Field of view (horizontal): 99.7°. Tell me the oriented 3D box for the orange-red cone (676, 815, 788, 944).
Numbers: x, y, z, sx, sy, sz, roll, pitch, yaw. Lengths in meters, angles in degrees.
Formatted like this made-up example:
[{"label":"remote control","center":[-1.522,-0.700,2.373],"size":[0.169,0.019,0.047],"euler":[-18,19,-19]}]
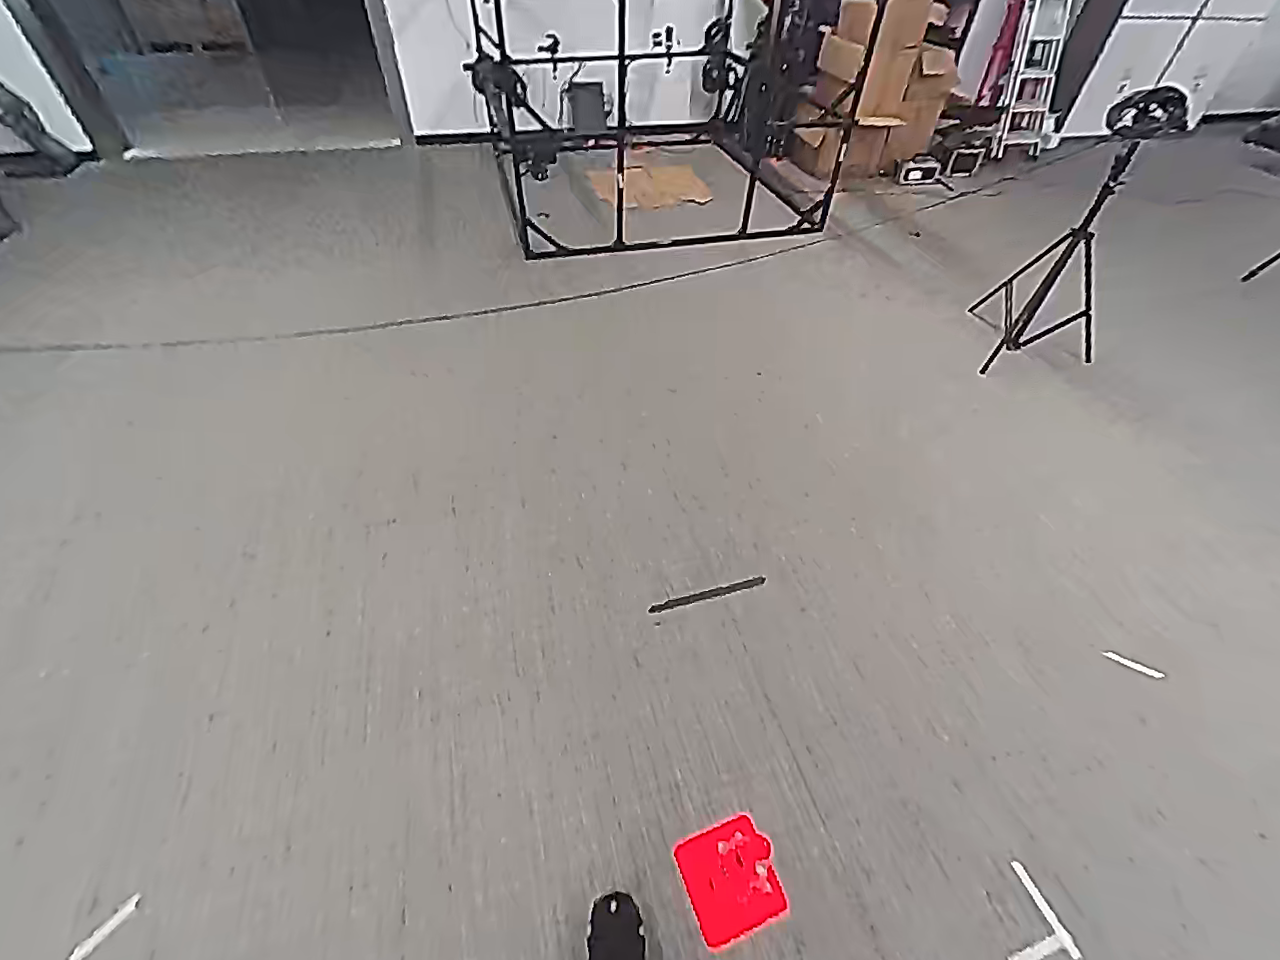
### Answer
[{"label":"orange-red cone","center":[0.201,0.749,1.060],"size":[0.199,0.360,0.198],"euler":[-14,48,-14]}]
